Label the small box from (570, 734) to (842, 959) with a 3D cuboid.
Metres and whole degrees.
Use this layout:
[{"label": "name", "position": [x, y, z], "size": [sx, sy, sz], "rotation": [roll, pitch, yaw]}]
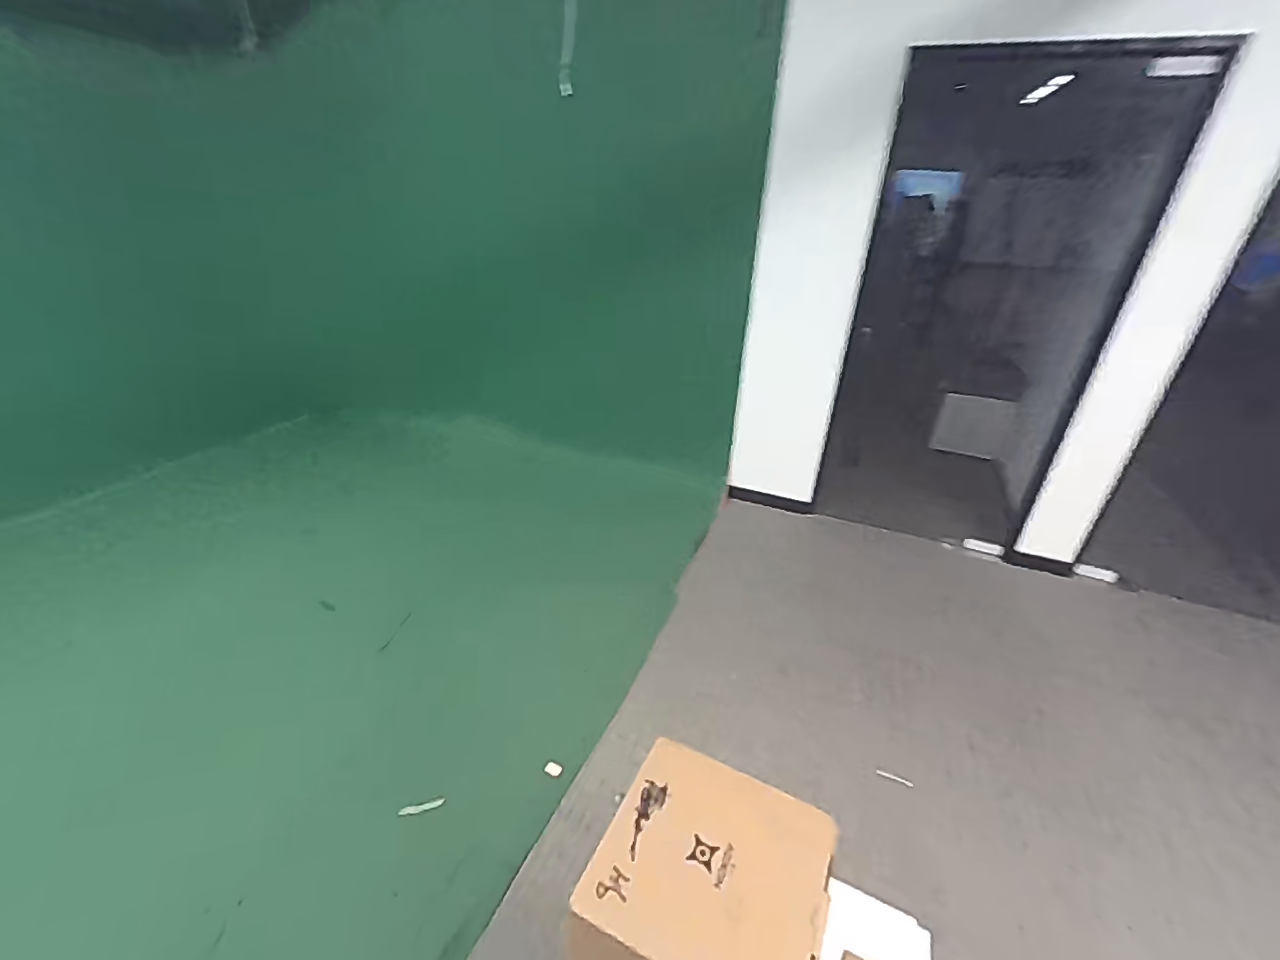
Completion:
[{"label": "small box", "position": [0.055, 0.375, 0.476], "size": [0.179, 0.176, 0.168], "rotation": [18, 32, 23]}]
